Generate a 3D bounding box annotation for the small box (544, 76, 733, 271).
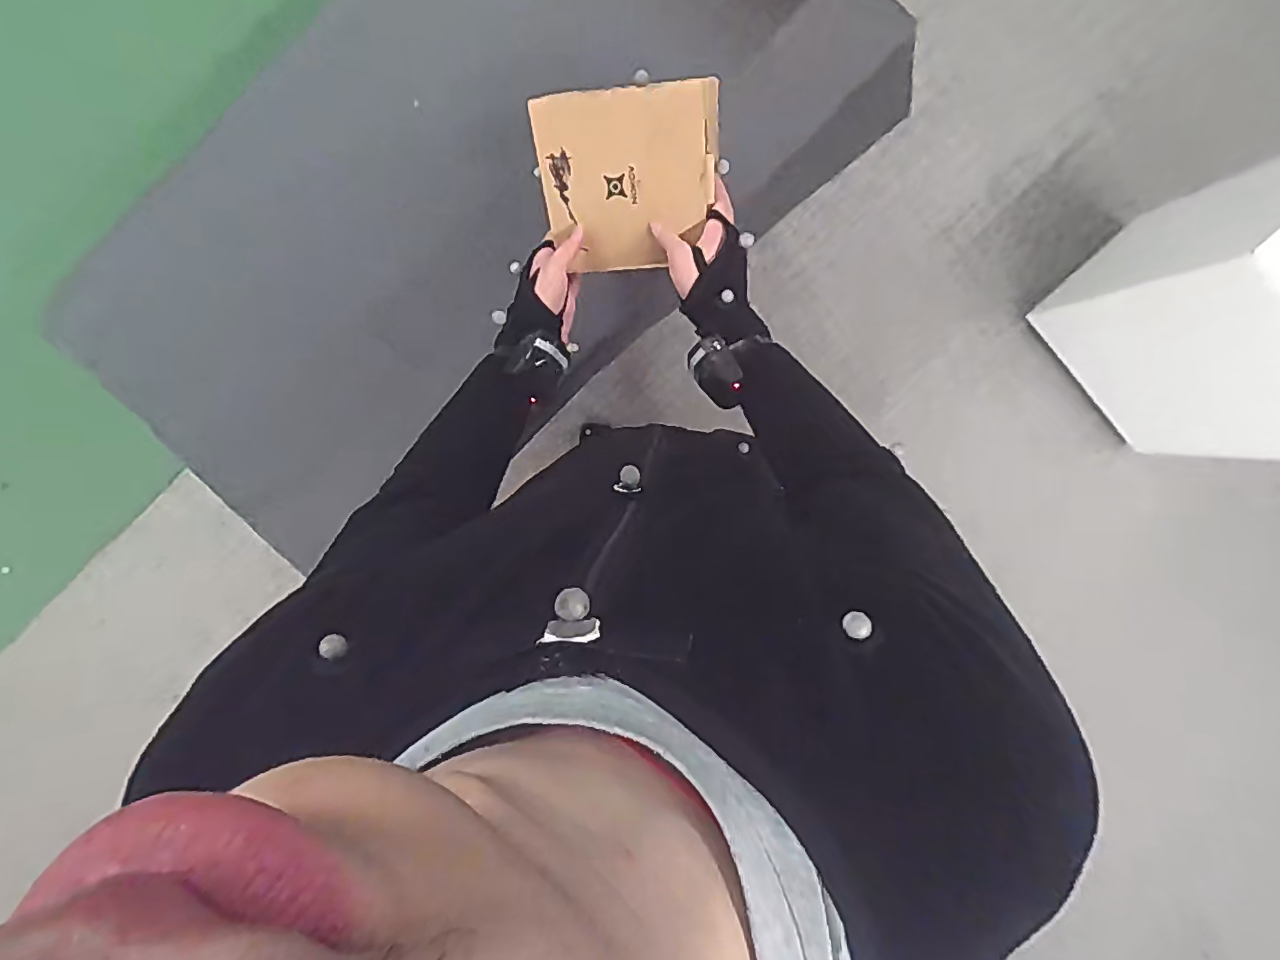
[{"bbox_3d":[0.009,-0.341,0.599,0.179,0.176,0.168,0,125,8],"label":"small box"}]
